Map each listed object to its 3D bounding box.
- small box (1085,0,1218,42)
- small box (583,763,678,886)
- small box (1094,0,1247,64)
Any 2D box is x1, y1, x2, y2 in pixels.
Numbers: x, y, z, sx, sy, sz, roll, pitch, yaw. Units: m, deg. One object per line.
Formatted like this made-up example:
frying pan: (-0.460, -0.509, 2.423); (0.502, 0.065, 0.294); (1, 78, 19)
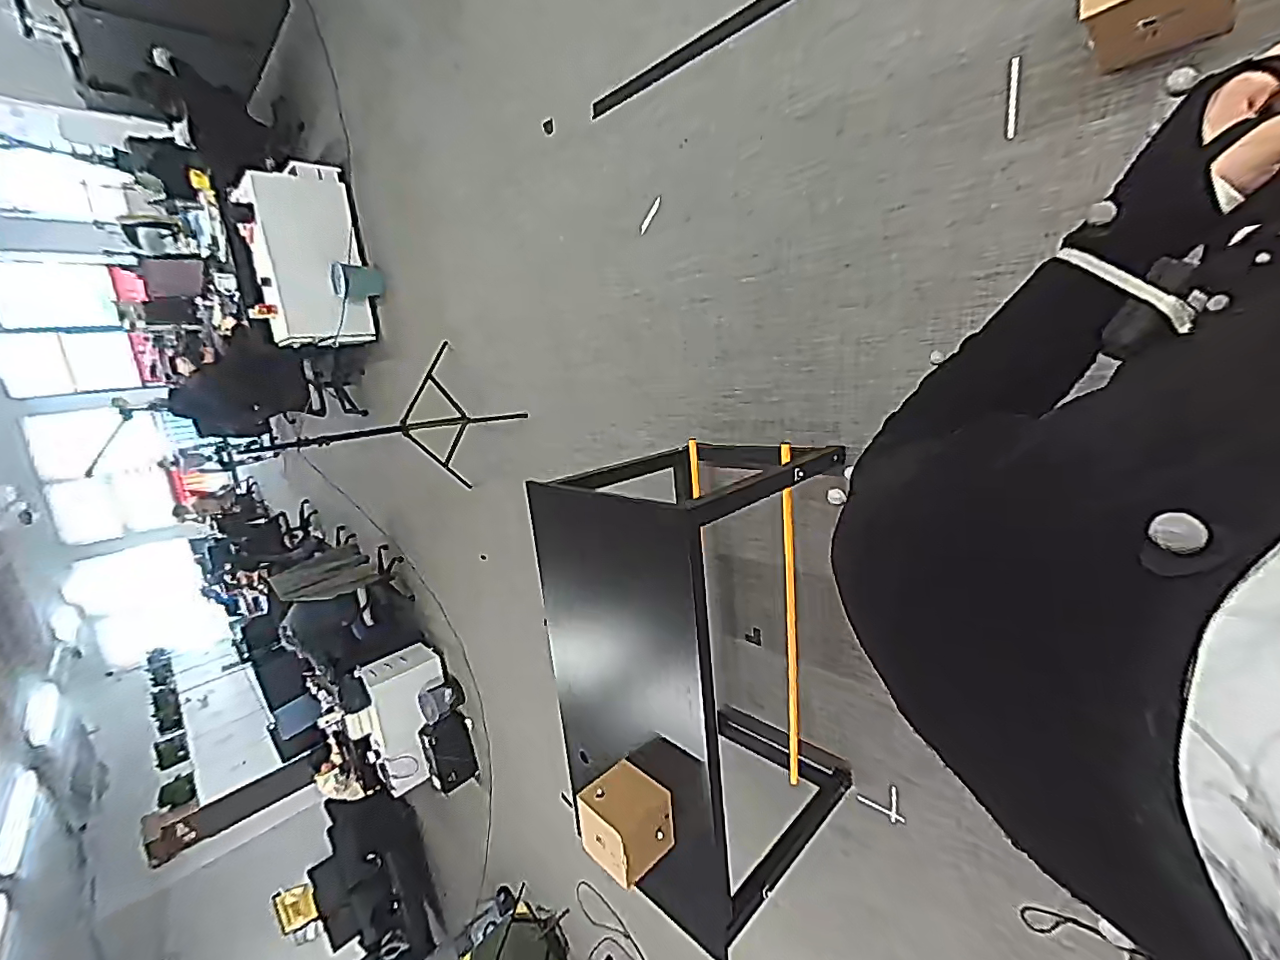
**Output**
small box: (0.774, -0.798, 0.791); (0.168, 0.176, 0.179); (3, 107, 49)
small box: (-0.023, 0.862, 1.380); (0.179, 0.176, 0.168); (10, 111, 46)
small box: (0.888, -0.838, 0.900); (0.179, 0.176, 0.168); (6, 107, 46)
